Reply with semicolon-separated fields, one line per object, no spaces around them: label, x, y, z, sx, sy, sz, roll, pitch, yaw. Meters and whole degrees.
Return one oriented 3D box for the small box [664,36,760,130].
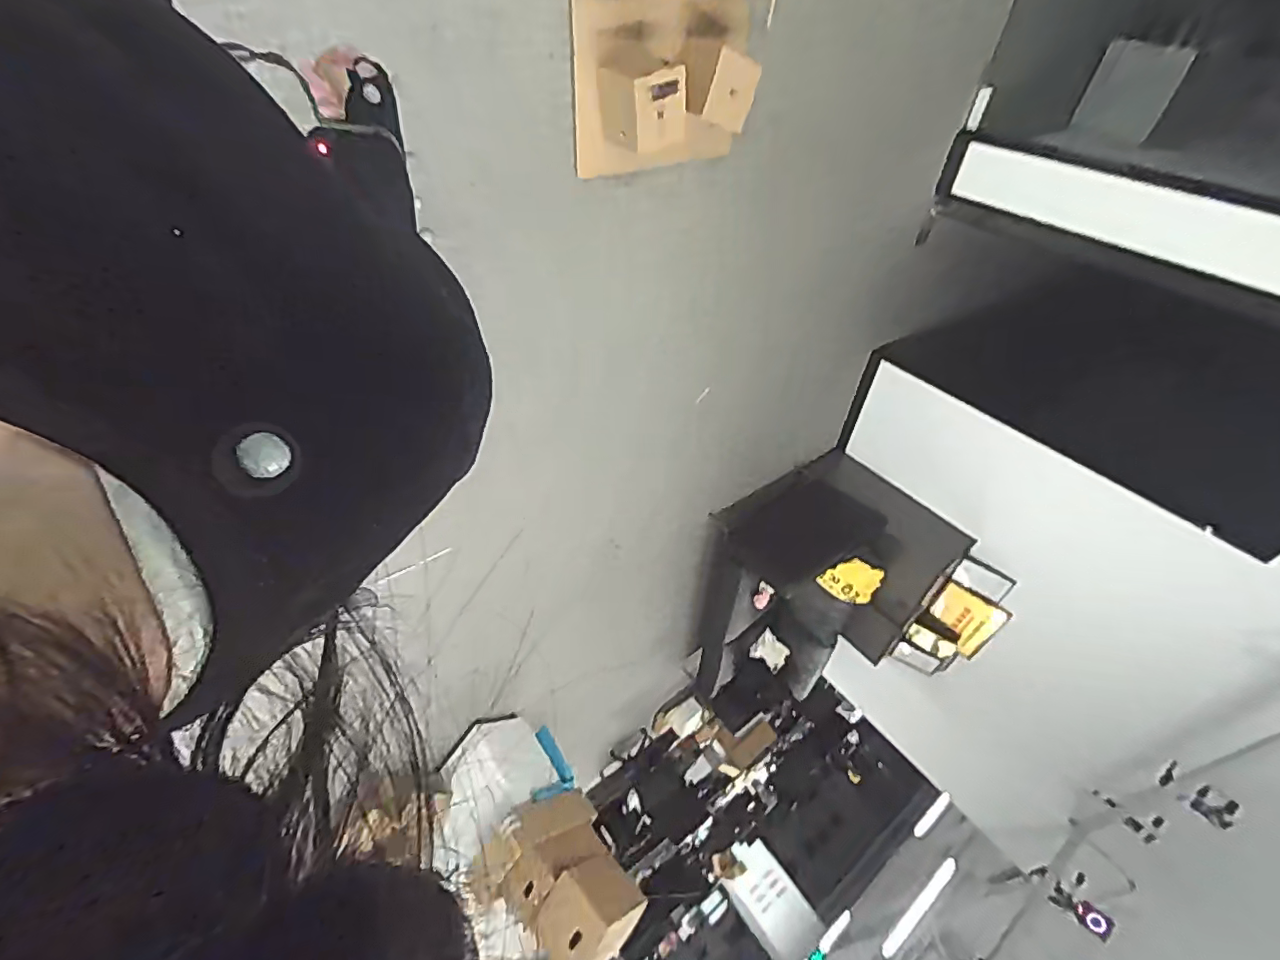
small box;0.202;-1.136;1.548;0.179;0.176;0.168;-12;134;-42
